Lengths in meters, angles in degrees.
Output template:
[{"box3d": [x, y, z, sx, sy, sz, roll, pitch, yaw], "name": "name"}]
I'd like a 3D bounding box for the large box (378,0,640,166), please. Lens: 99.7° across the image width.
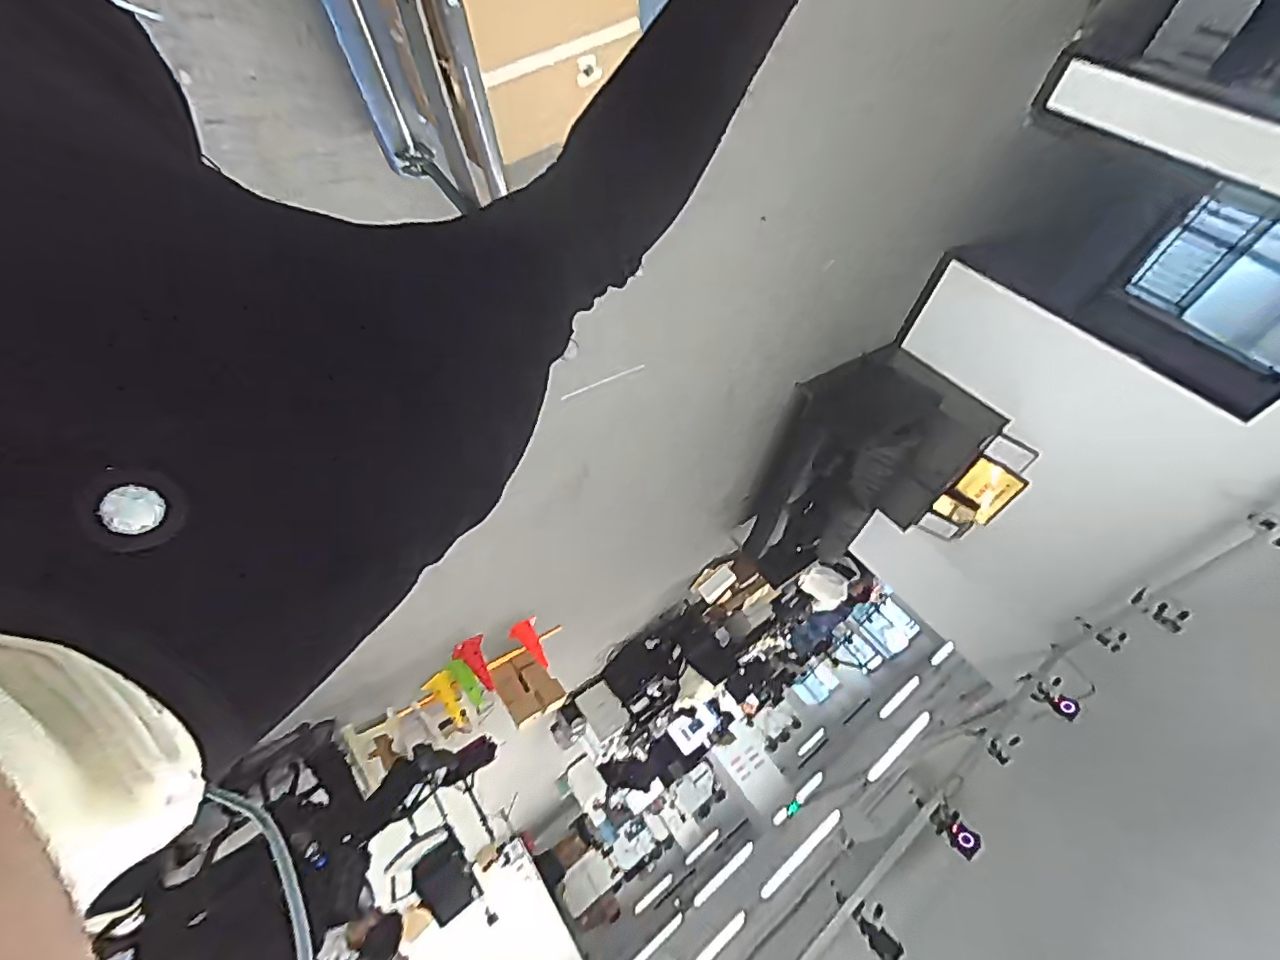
[{"box3d": [-0.257, -0.907, 1.071, 0.408, 0.320, 0.320, -34, 153, -17], "name": "large box"}]
